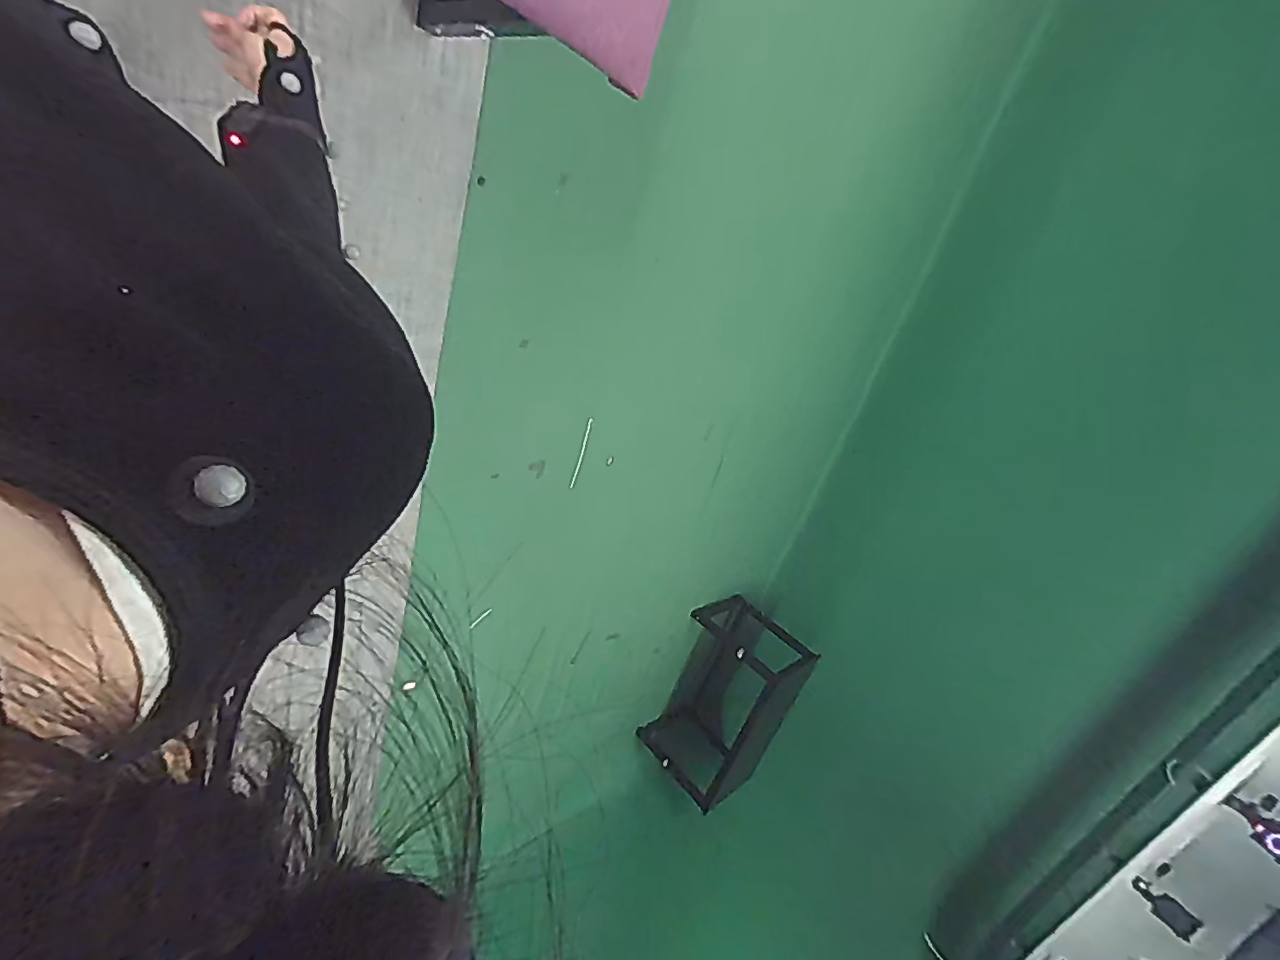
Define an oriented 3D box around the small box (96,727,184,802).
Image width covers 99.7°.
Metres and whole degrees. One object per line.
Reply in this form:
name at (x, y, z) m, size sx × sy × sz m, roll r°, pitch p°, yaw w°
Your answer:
small box at (-1.399, 0.828, 1.518) m, size 0.168 × 0.176 × 0.179 m, roll -9°, pitch 127°, yaw -44°
